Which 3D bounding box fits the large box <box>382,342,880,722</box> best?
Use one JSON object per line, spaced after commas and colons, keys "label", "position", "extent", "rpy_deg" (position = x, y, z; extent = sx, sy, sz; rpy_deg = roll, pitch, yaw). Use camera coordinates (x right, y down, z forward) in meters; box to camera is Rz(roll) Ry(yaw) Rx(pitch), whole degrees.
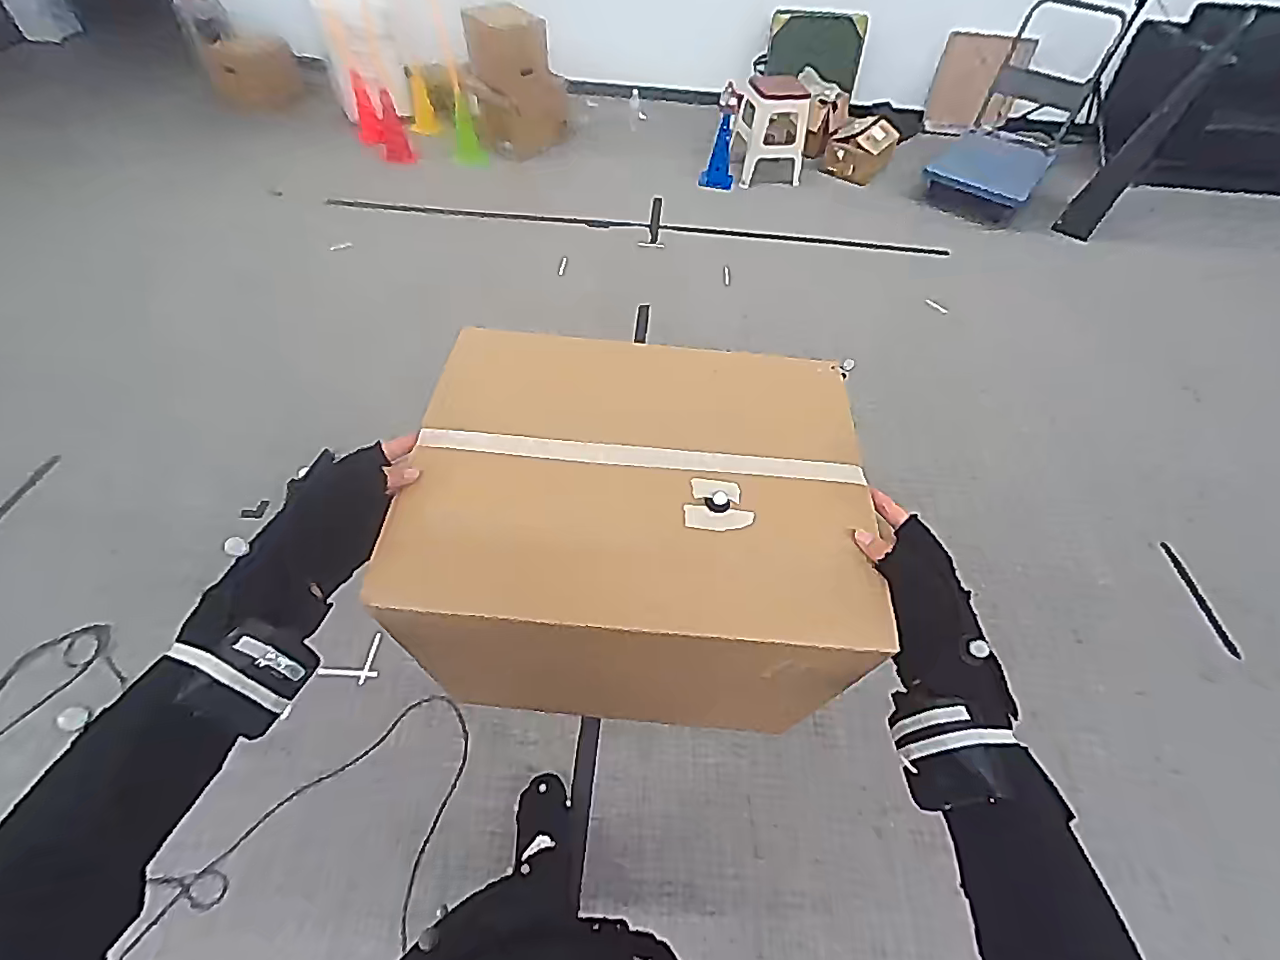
{"label": "large box", "position": [-0.008, 0.073, 0.629], "extent": [0.408, 0.320, 0.320], "rpy_deg": [6, 55, -1]}
